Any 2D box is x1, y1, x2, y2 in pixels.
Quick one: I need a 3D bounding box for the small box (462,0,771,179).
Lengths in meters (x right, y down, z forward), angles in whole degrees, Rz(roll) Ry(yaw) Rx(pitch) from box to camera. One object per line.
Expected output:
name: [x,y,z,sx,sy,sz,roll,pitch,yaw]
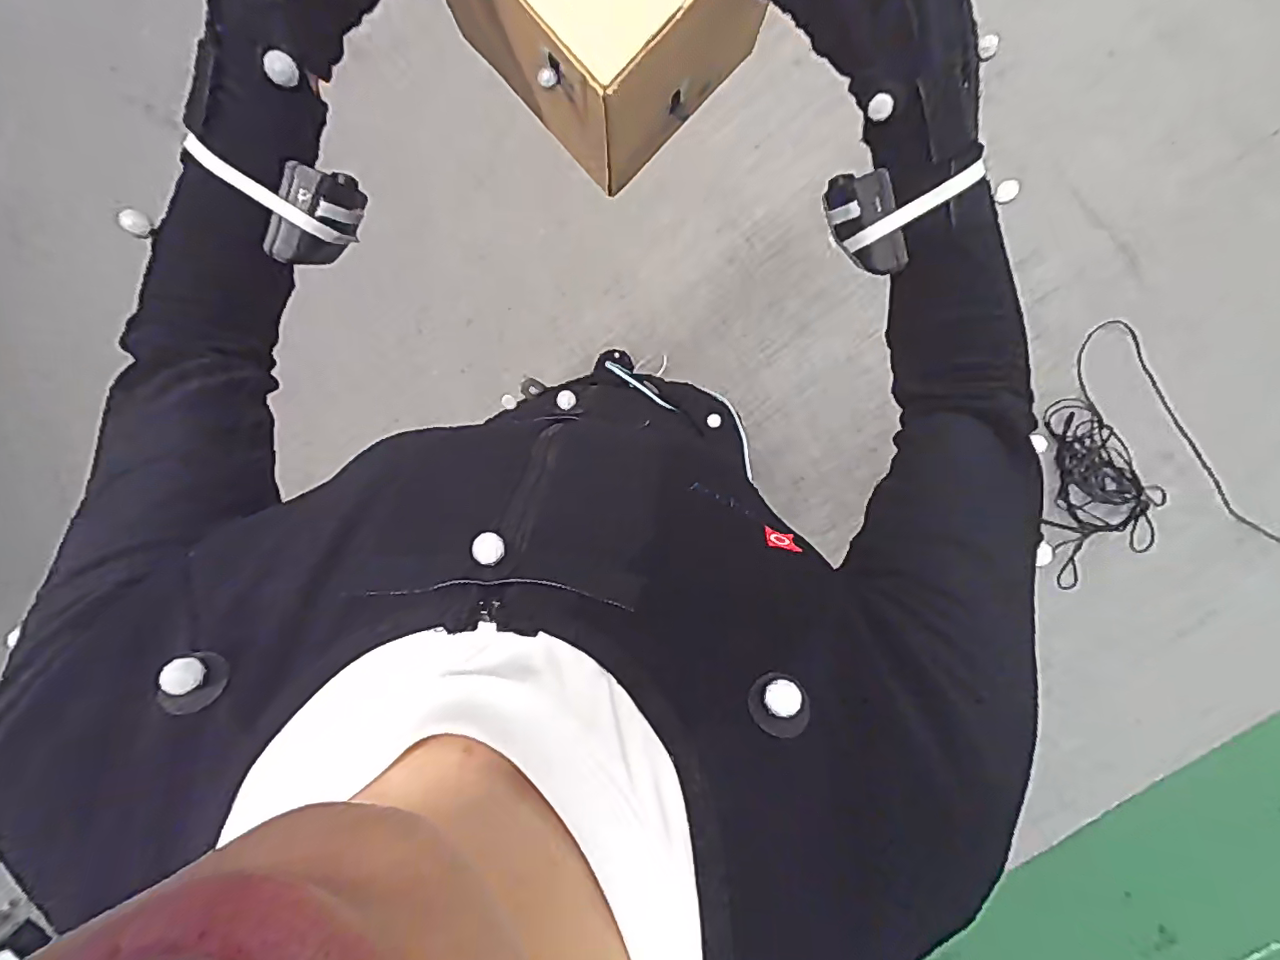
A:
small box: [-0.020,-0.348,0.362,0.168,0.176,0.179,-44,100,5]
